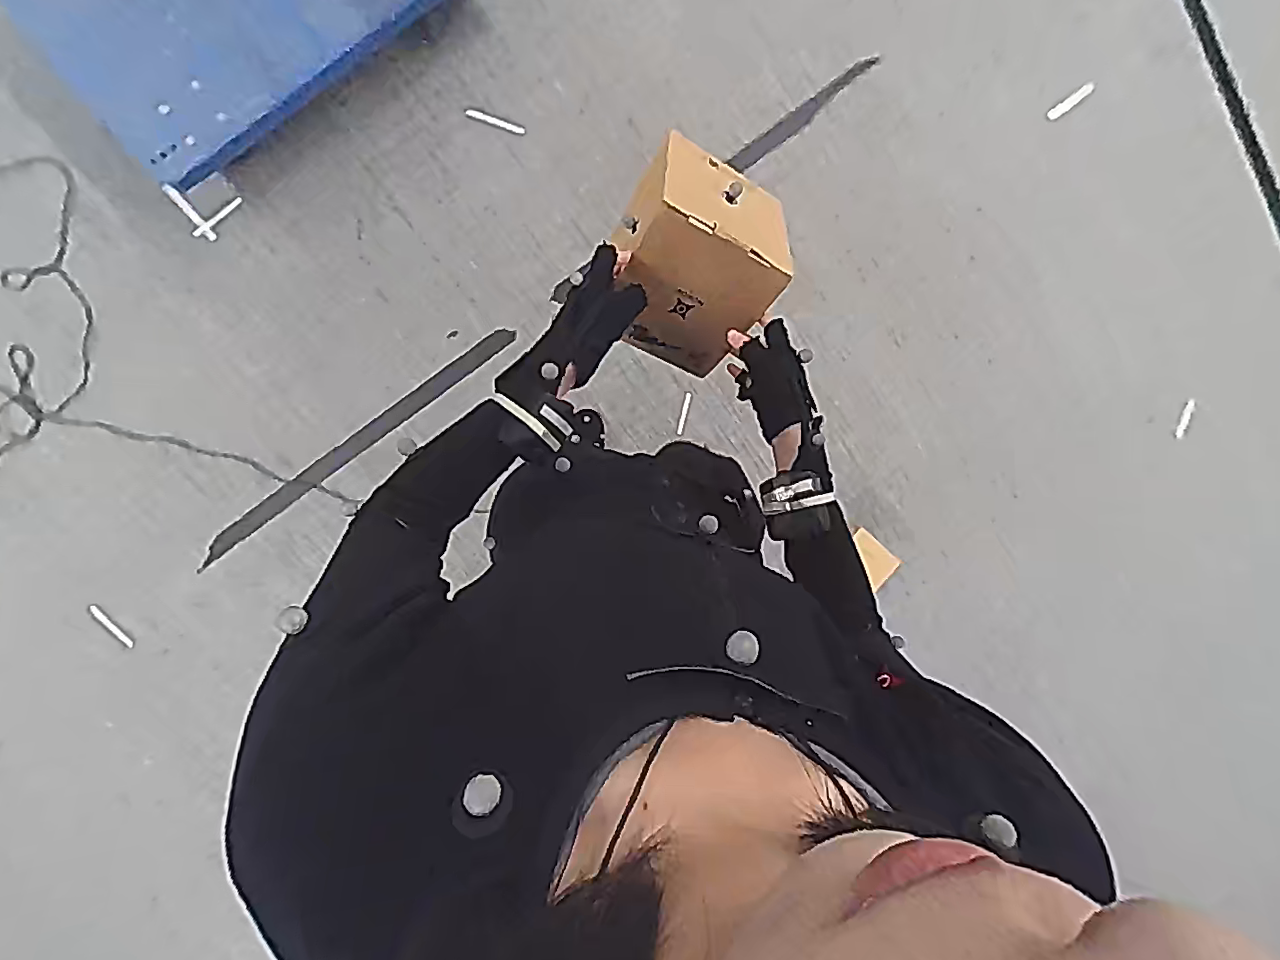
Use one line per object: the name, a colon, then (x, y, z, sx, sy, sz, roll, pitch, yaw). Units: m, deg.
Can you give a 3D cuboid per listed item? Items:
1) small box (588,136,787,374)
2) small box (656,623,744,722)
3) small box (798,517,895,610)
small box: (0.050, -0.270, 0.657, 0.168, 0.176, 0.179, 21, 139, -21)
small box: (0.162, 0.541, 1.548, 0.168, 0.176, 0.179, 34, 94, -11)
small box: (0.578, 0.234, 1.549, 0.168, 0.176, 0.179, 40, 92, -12)
